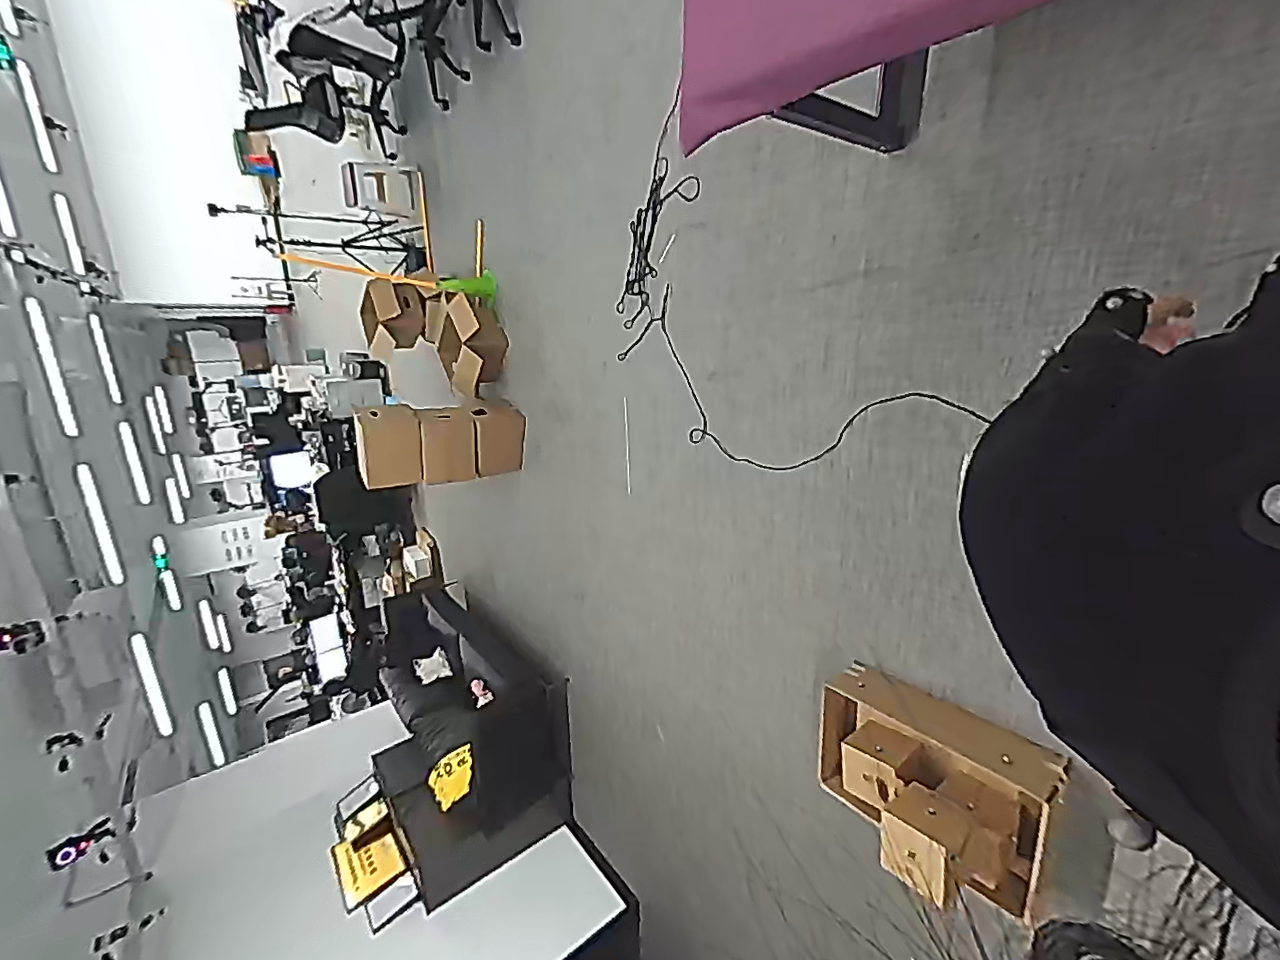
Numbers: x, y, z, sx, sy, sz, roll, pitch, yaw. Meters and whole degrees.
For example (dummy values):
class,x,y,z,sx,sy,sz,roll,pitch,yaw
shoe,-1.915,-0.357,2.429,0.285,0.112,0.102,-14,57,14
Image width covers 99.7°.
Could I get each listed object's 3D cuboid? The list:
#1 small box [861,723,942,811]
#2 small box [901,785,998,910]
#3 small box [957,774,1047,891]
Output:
class,x,y,z,sx,sy,sz,roll,pitch,yaw
small box,0.810,0.884,1.668,0.179,0.176,0.168,6,104,54
small box,0.805,0.940,1.406,0.168,0.176,0.179,10,107,56
small box,0.967,0.938,1.462,0.179,0.176,0.168,12,109,55
